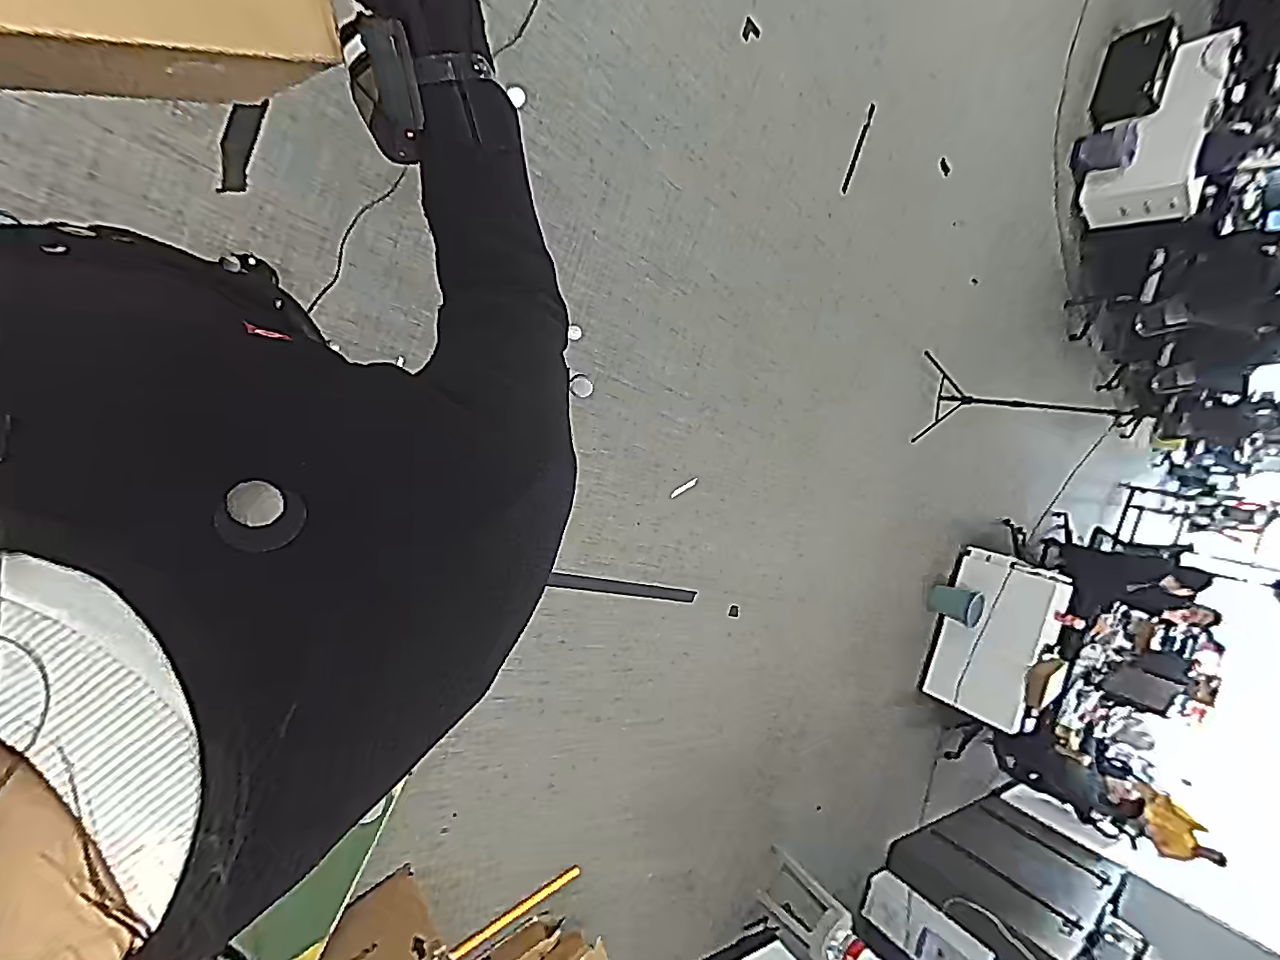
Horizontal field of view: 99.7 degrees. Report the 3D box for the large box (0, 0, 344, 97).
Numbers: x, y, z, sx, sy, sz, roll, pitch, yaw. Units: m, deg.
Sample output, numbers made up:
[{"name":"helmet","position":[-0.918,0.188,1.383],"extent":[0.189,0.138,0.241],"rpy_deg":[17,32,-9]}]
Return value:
[{"name":"large box","position":[-0.433,-0.386,0.252],"extent":[0.408,0.320,0.320],"rpy_deg":[-24,129,-34]}]
